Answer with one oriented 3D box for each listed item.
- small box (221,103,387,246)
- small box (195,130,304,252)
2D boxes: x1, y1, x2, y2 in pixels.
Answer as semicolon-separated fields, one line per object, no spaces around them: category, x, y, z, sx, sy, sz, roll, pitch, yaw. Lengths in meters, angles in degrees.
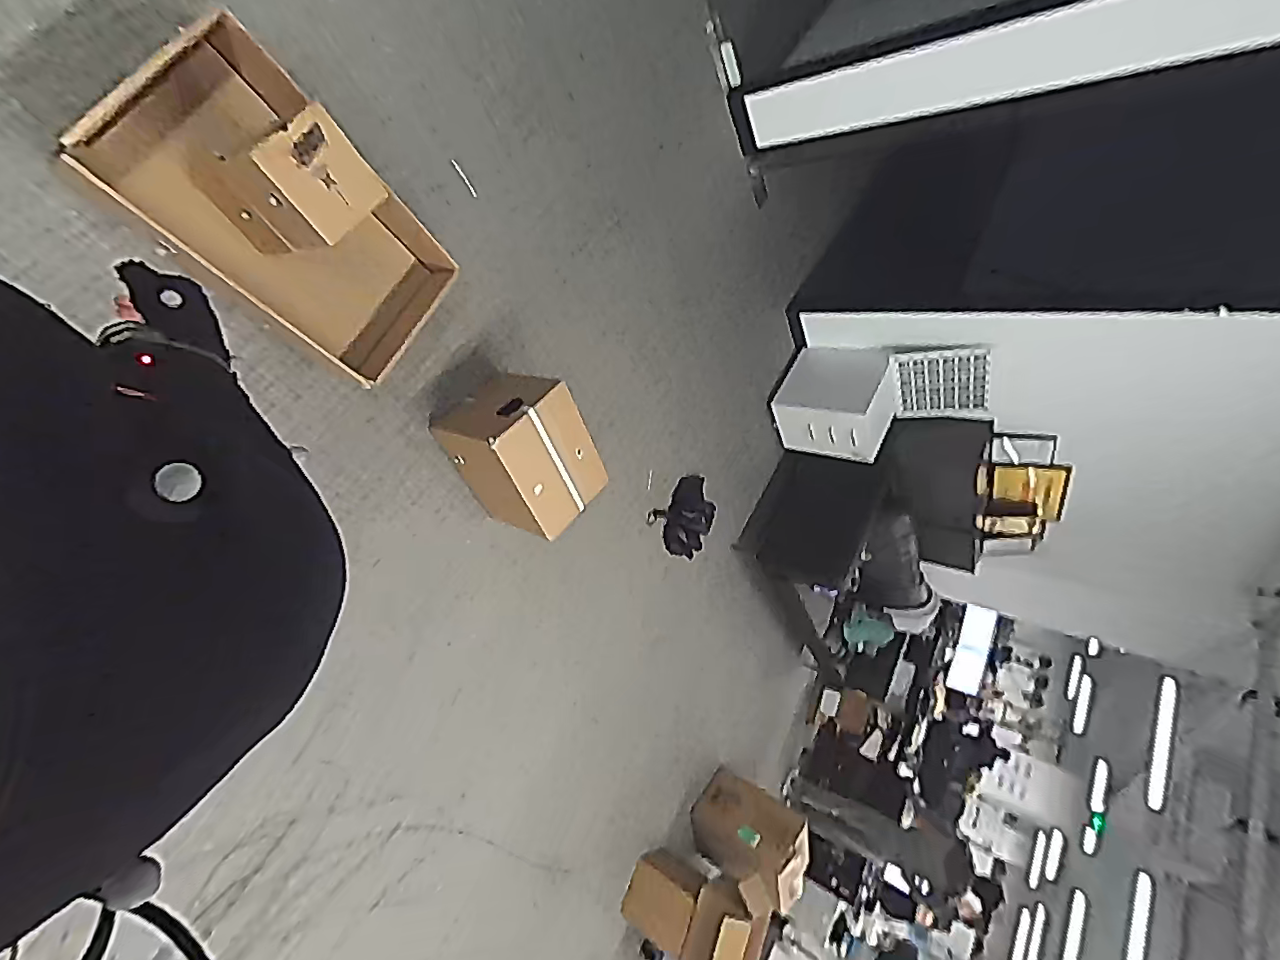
small box;-0.632;-0.562;1.018;0.168;0.176;0.179;-58;141;-21
small box;-0.760;-0.593;1.117;0.168;0.176;0.179;-57;142;-22
